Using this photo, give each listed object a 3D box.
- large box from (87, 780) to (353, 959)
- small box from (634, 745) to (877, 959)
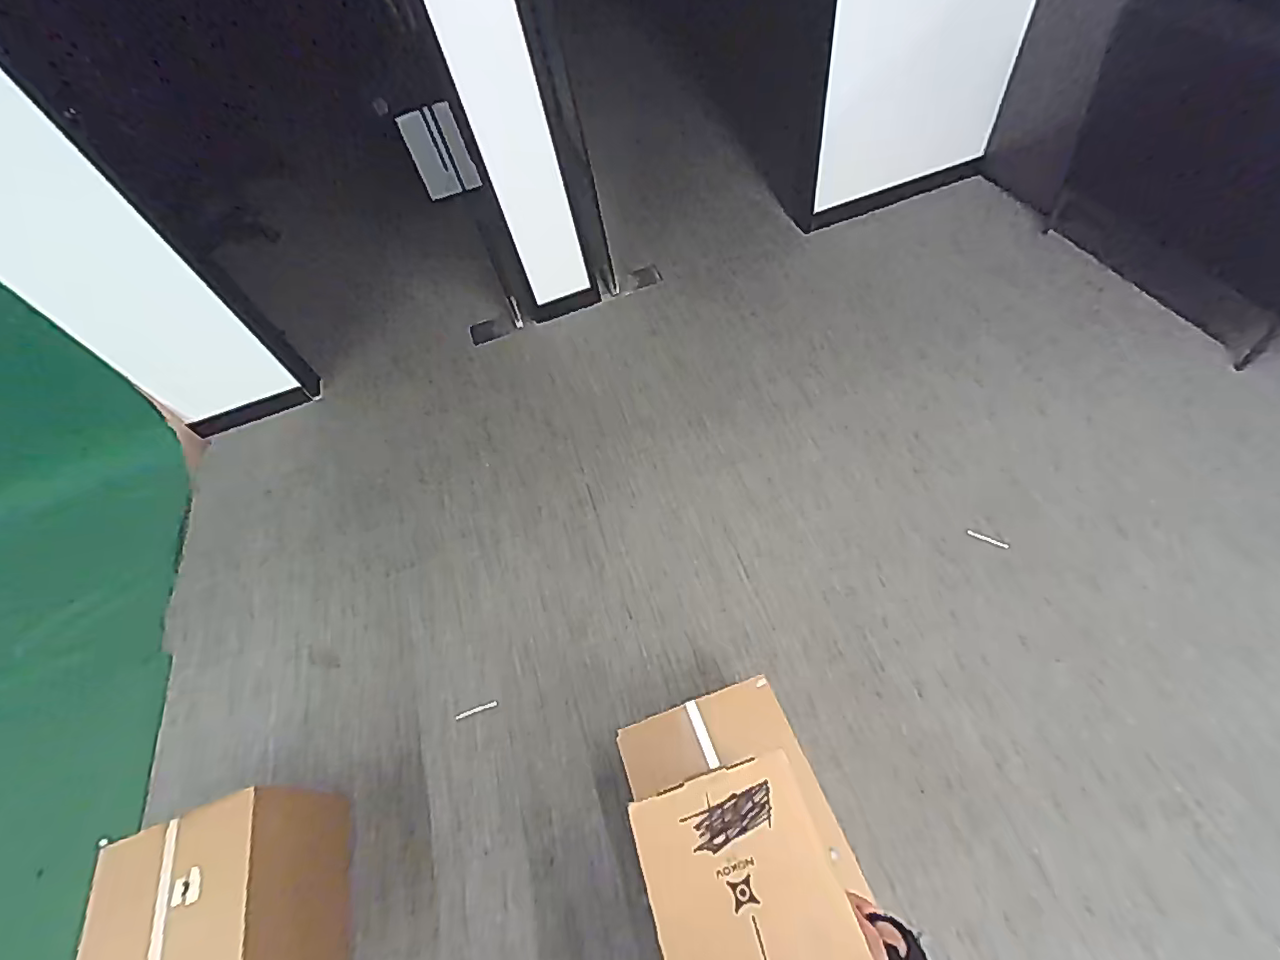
[{"bbox_3d":[-0.812,0.885,1.081,0.320,0.320,0.408,-21,55,-3],"label":"large box"},{"bbox_3d":[0.106,0.396,0.543,0.168,0.176,0.179,-20,55,-1],"label":"small box"}]
